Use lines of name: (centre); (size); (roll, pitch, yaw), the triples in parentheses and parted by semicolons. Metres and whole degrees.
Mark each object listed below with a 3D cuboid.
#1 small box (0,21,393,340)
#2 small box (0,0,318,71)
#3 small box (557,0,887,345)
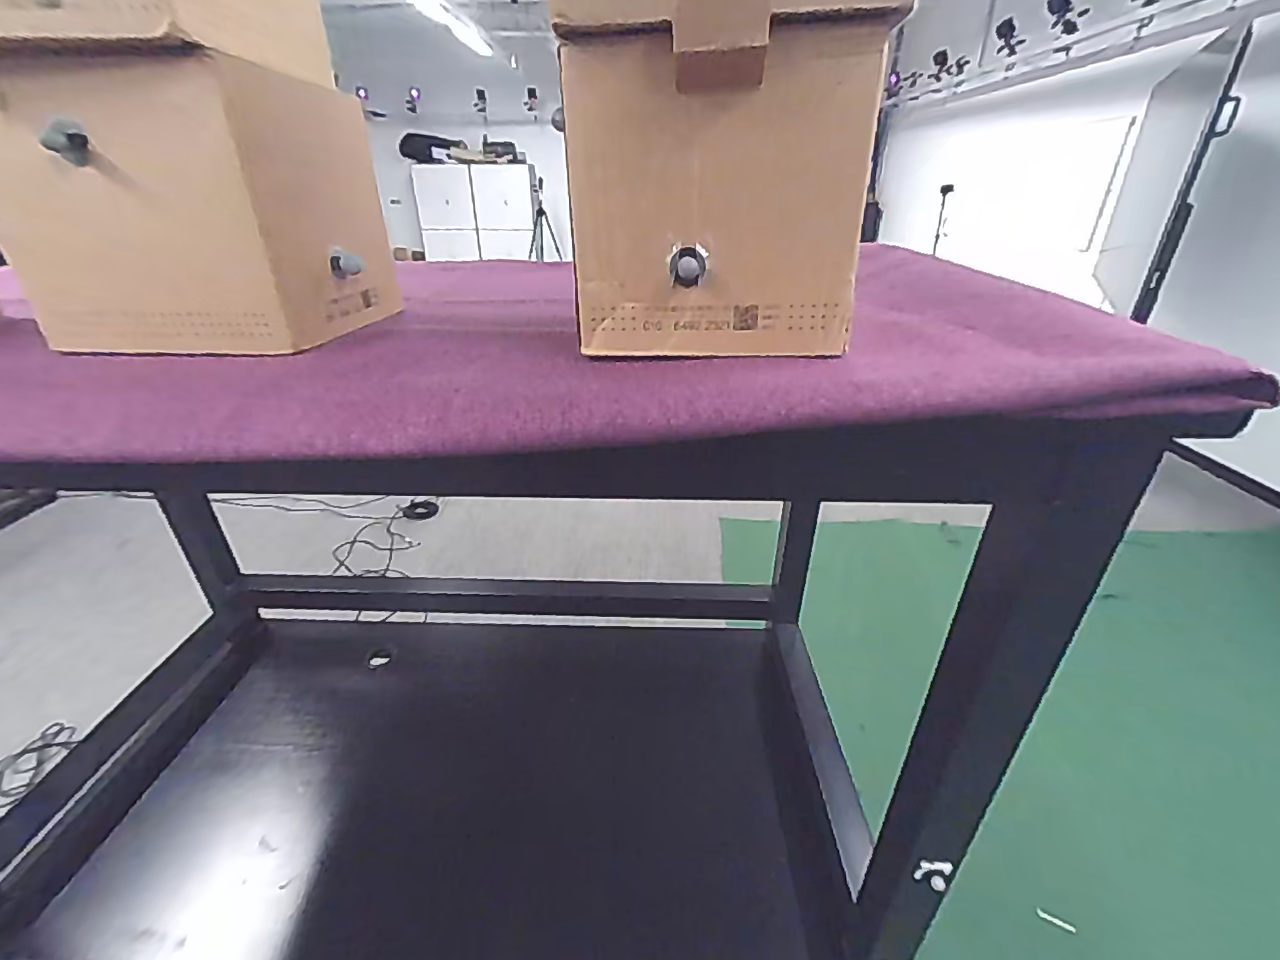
small box: (-0.313, -0.202, 0.395); (0.179, 0.176, 0.168); (1, 28, 2)
small box: (-0.321, -0.342, 0.310); (0.168, 0.176, 0.179); (-1, 28, -2)
small box: (0.047, -0.197, 0.374); (0.168, 0.176, 0.179); (1, 27, 5)
